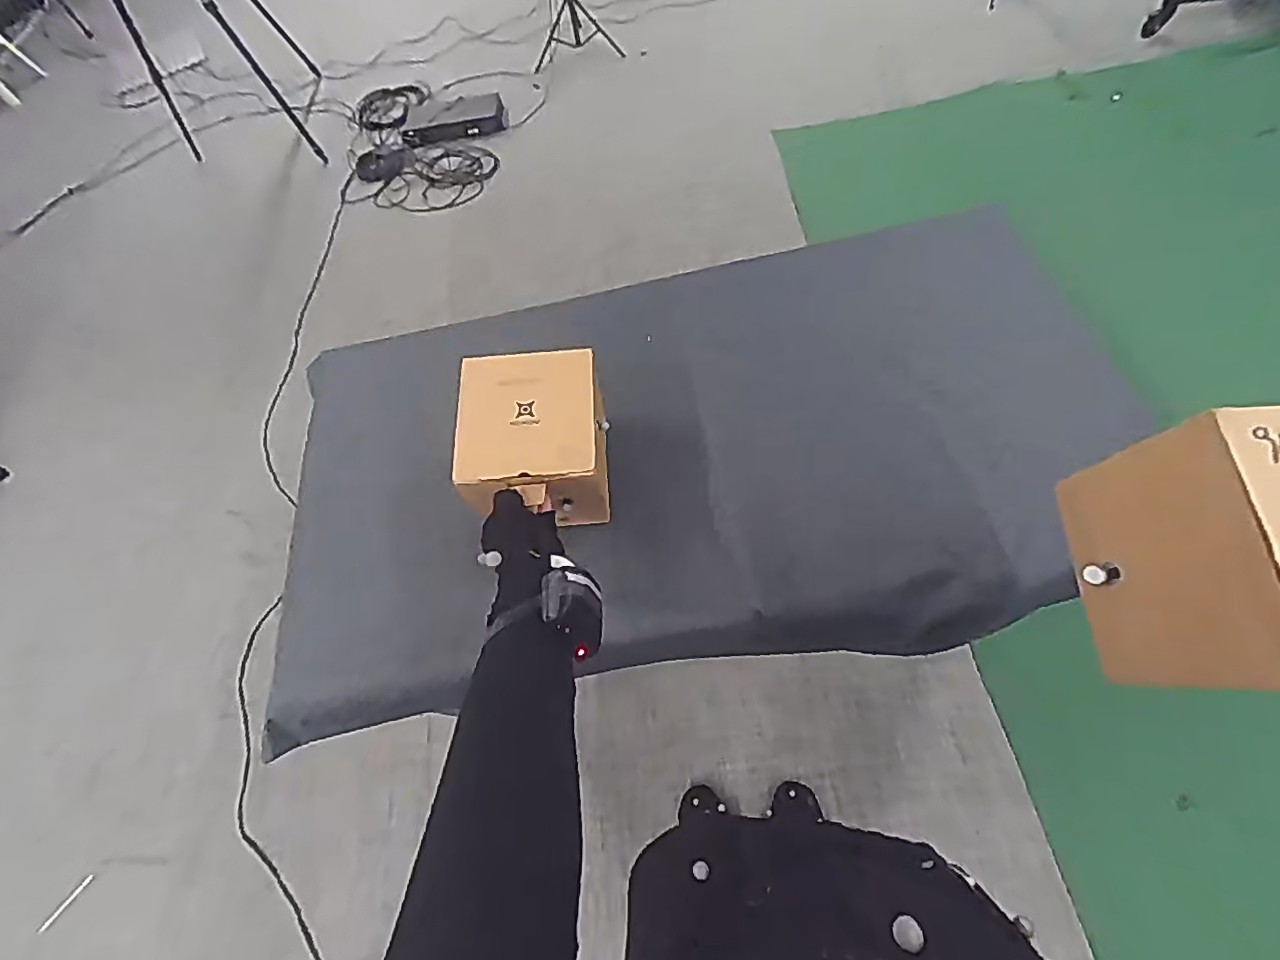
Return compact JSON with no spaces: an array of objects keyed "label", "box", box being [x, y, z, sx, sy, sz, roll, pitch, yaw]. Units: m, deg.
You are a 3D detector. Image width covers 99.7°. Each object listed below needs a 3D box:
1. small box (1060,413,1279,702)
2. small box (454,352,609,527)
[{"label":"small box","box":[0.455,0.063,0.389,0.168,0.176,0.179,-1,72,4]},{"label":"small box","box":[-0.131,-0.043,0.715,0.168,0.176,0.179,-4,64,0]}]
